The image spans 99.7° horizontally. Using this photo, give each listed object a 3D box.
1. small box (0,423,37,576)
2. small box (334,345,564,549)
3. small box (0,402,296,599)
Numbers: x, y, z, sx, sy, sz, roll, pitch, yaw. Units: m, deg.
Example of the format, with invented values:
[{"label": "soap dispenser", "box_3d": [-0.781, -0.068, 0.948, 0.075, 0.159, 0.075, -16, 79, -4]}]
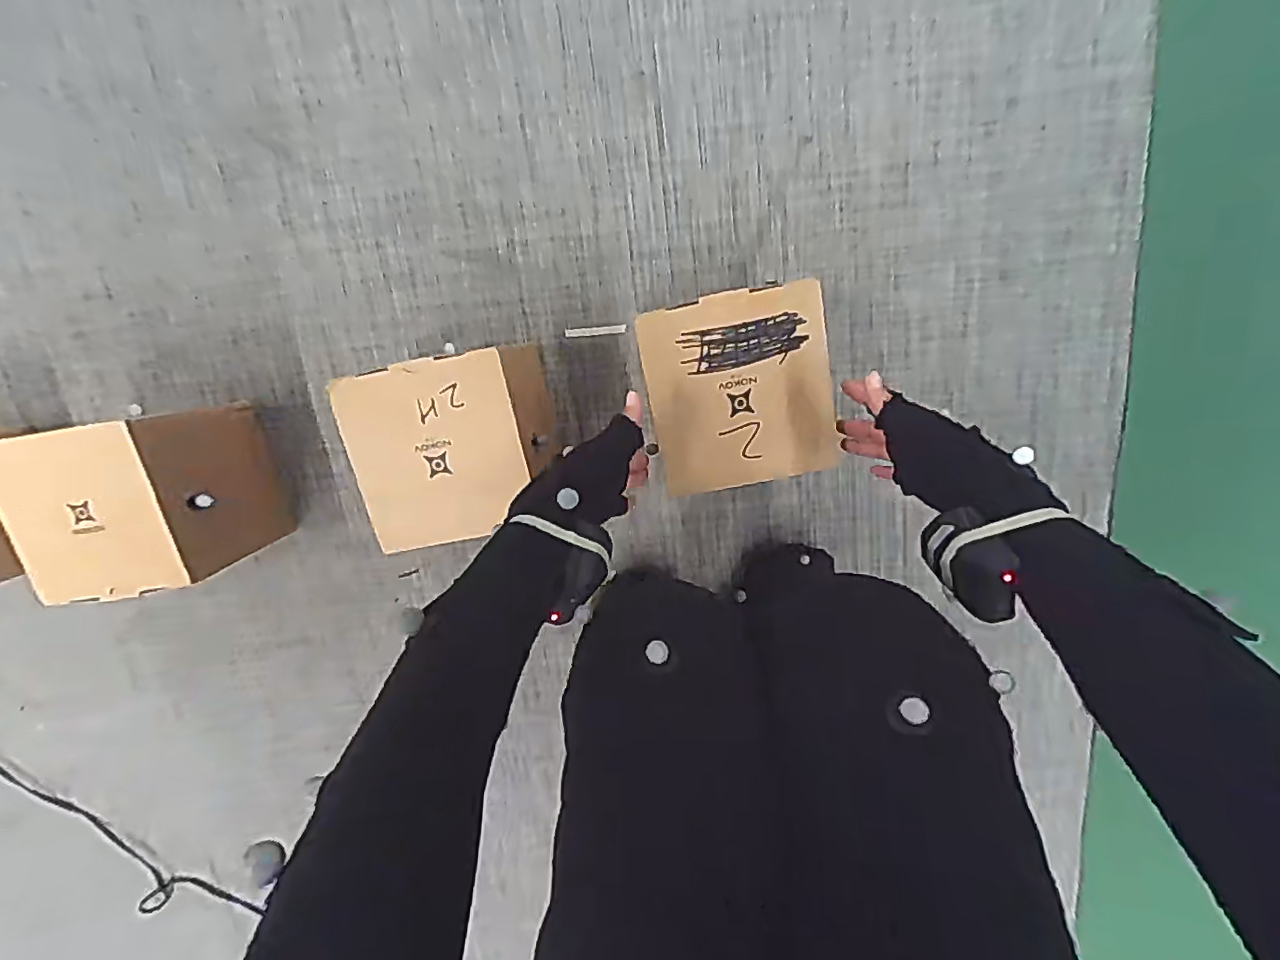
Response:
[{"label": "small box", "box_3d": [-0.832, 0.035, 0.629, 0.168, 0.176, 0.179, -4, 104, 2]}, {"label": "small box", "box_3d": [-0.188, -0.046, 0.594, 0.168, 0.176, 0.179, -10, 105, 3]}, {"label": "small box", "box_3d": [-0.542, 0.011, 0.617, 0.168, 0.176, 0.179, -8, 105, 4]}]
